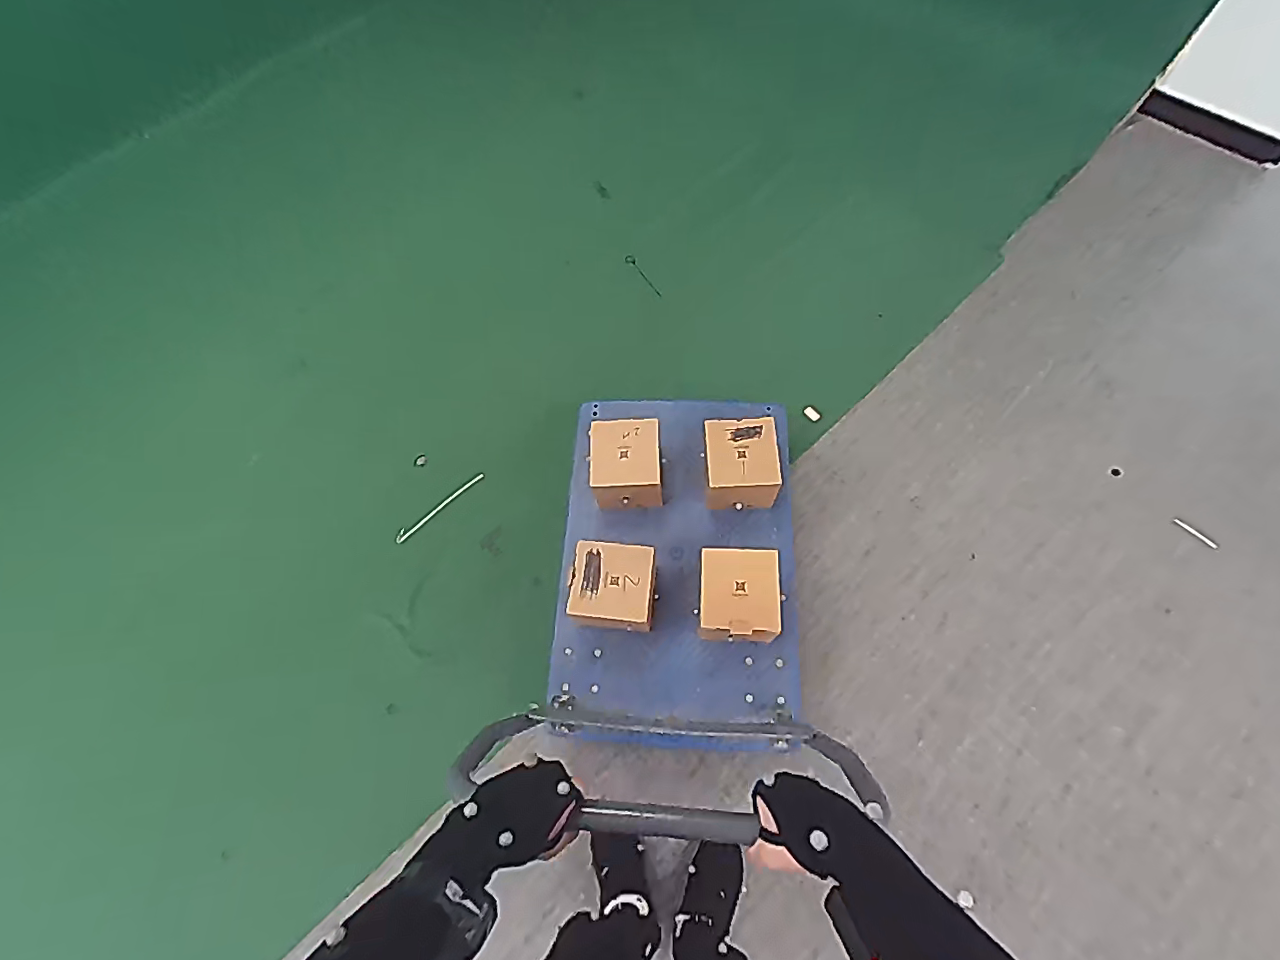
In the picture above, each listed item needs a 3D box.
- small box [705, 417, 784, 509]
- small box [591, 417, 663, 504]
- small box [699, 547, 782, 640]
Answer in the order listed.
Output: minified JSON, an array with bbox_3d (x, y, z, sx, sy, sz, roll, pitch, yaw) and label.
[{"bbox_3d":[0.249,-0.038,1.327,0.168,0.176,0.179,-2,69,4],"label":"small box"},{"bbox_3d":[-0.026,-0.042,1.347,0.168,0.176,0.179,-1,69,3],"label":"small box"},{"bbox_3d":[0.220,0.258,1.214,0.168,0.176,0.179,2,69,5],"label":"small box"}]
